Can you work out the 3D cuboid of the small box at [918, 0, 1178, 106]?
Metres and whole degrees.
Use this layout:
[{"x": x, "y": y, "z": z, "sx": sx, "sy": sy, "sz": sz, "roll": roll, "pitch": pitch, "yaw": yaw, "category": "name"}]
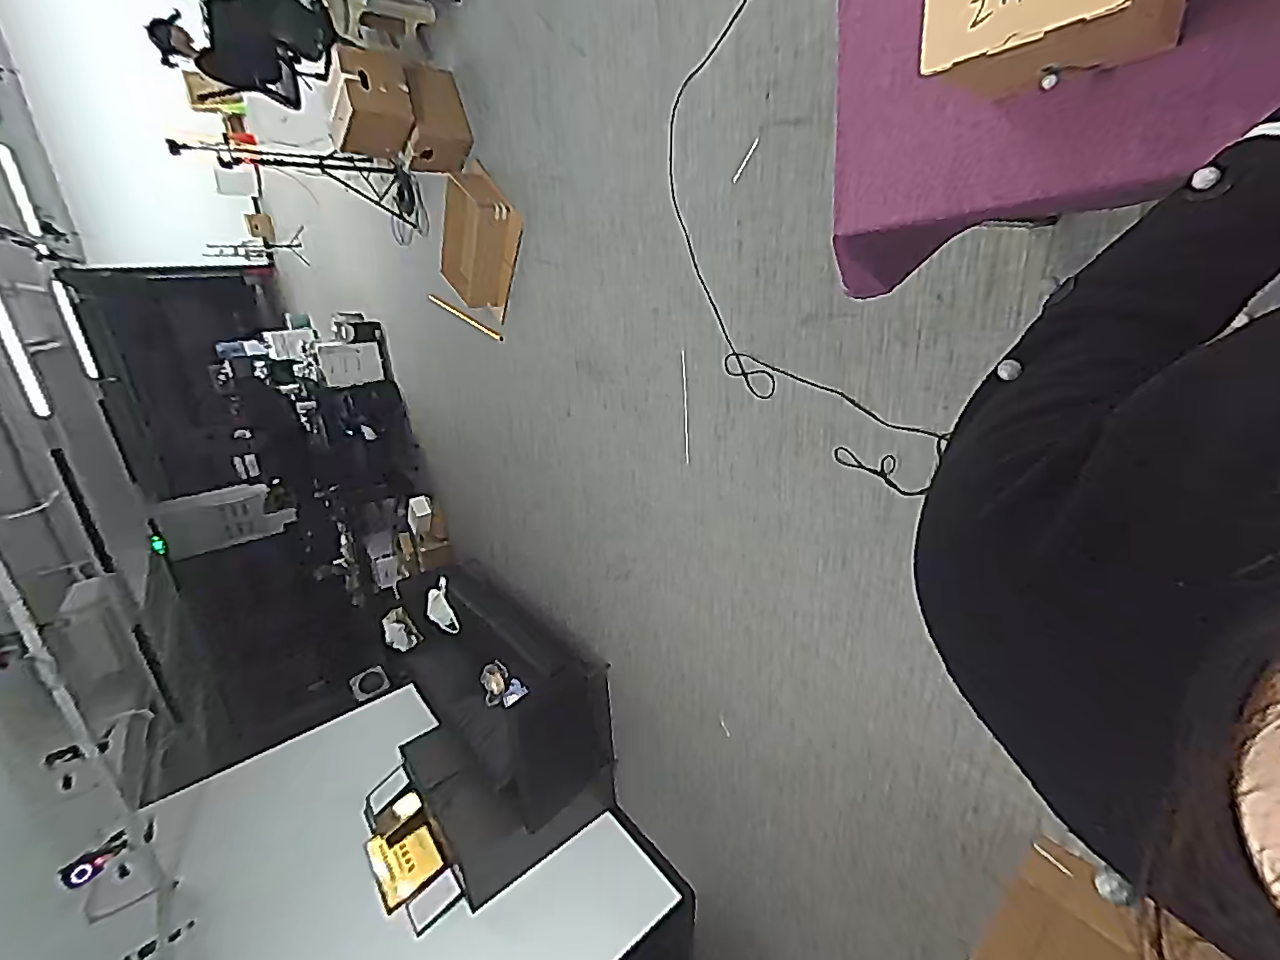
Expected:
[{"x": 0.391, "y": -0.486, "z": 0.508, "sx": 0.168, "sy": 0.176, "sz": 0.179, "roll": 18, "pitch": 118, "yaw": 49, "category": "small box"}]
